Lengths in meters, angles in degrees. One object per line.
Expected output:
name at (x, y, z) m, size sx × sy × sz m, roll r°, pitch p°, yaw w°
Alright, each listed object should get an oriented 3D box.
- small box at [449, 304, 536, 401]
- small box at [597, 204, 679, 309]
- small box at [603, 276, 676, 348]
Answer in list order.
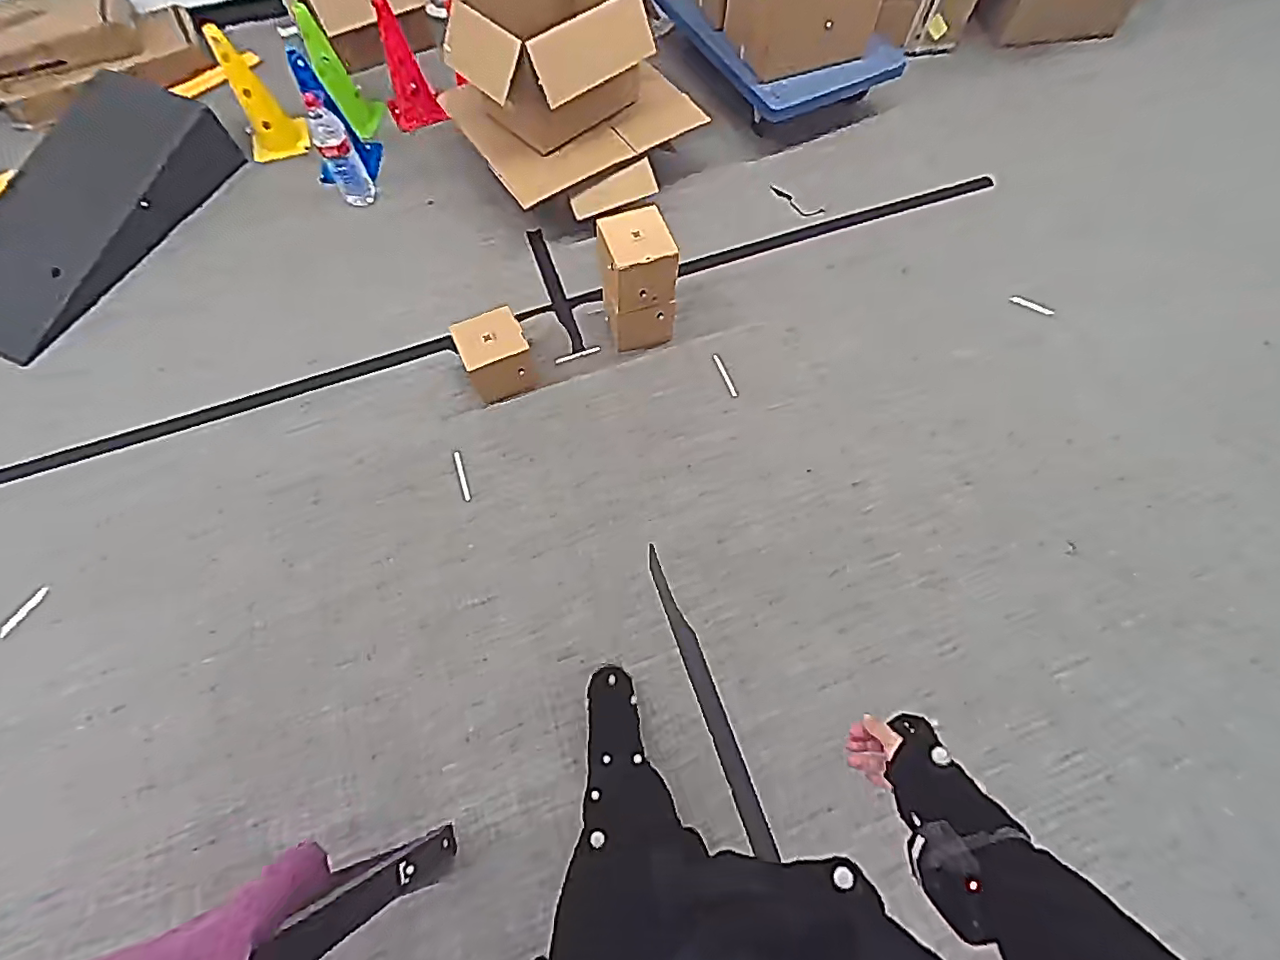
small box at (-0.402, -0.351, 1.509) m, size 0.179 × 0.176 × 0.168 m, roll -25°, pitch 69°, yaw -9°
small box at (-0.009, -0.588, 1.434) m, size 0.168 × 0.176 × 0.179 m, roll -19°, pitch 69°, yaw -9°
small box at (-0.007, -0.514, 1.579) m, size 0.179 × 0.176 × 0.168 m, roll -15°, pitch 68°, yaw -7°
